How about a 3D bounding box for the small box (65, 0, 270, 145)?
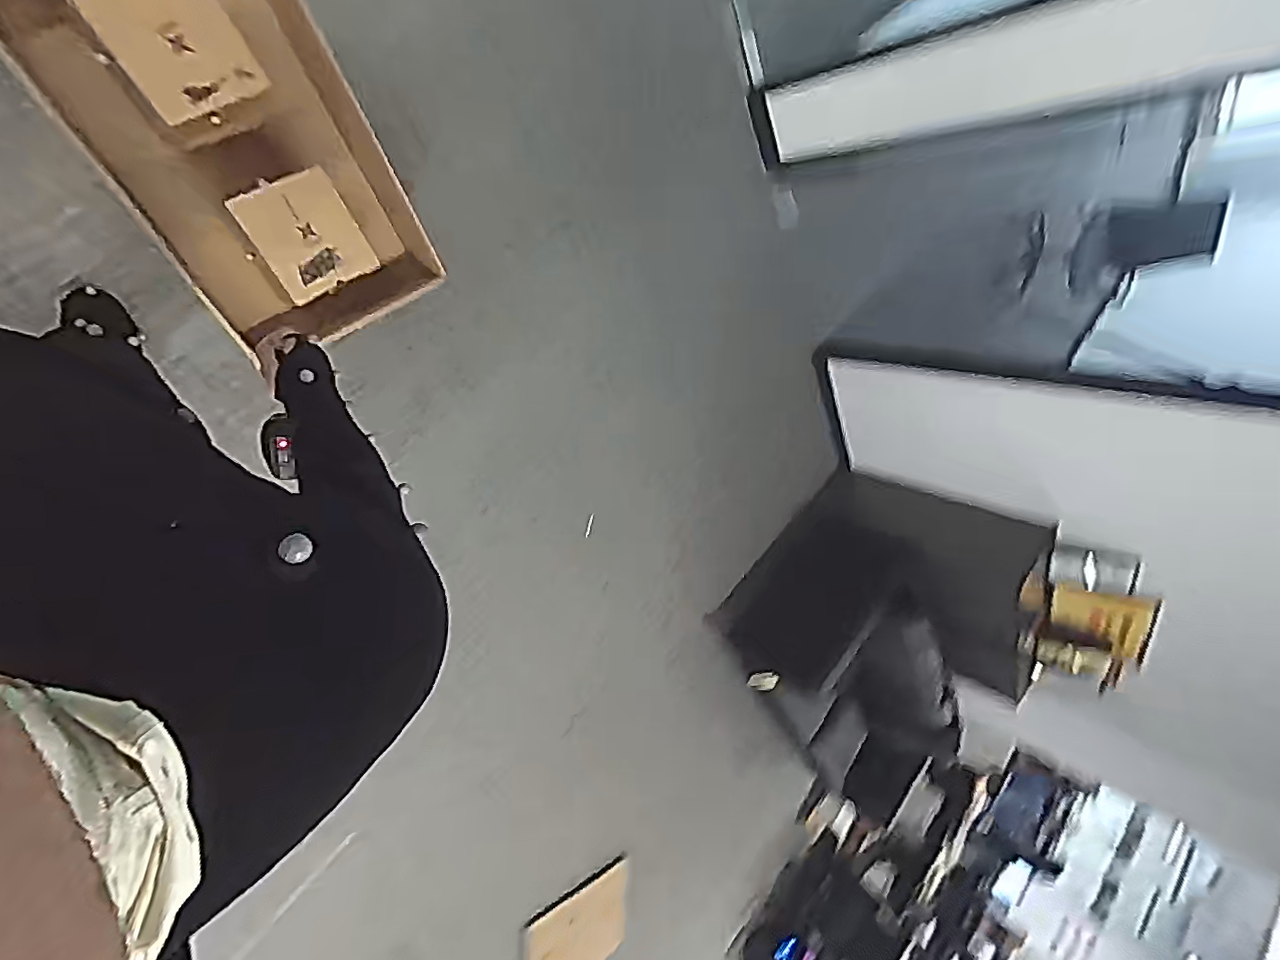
[{"bbox_3d":[-0.709,-0.643,0.816,0.168,0.176,0.179,-42,128,-23],"label":"small box"}]
